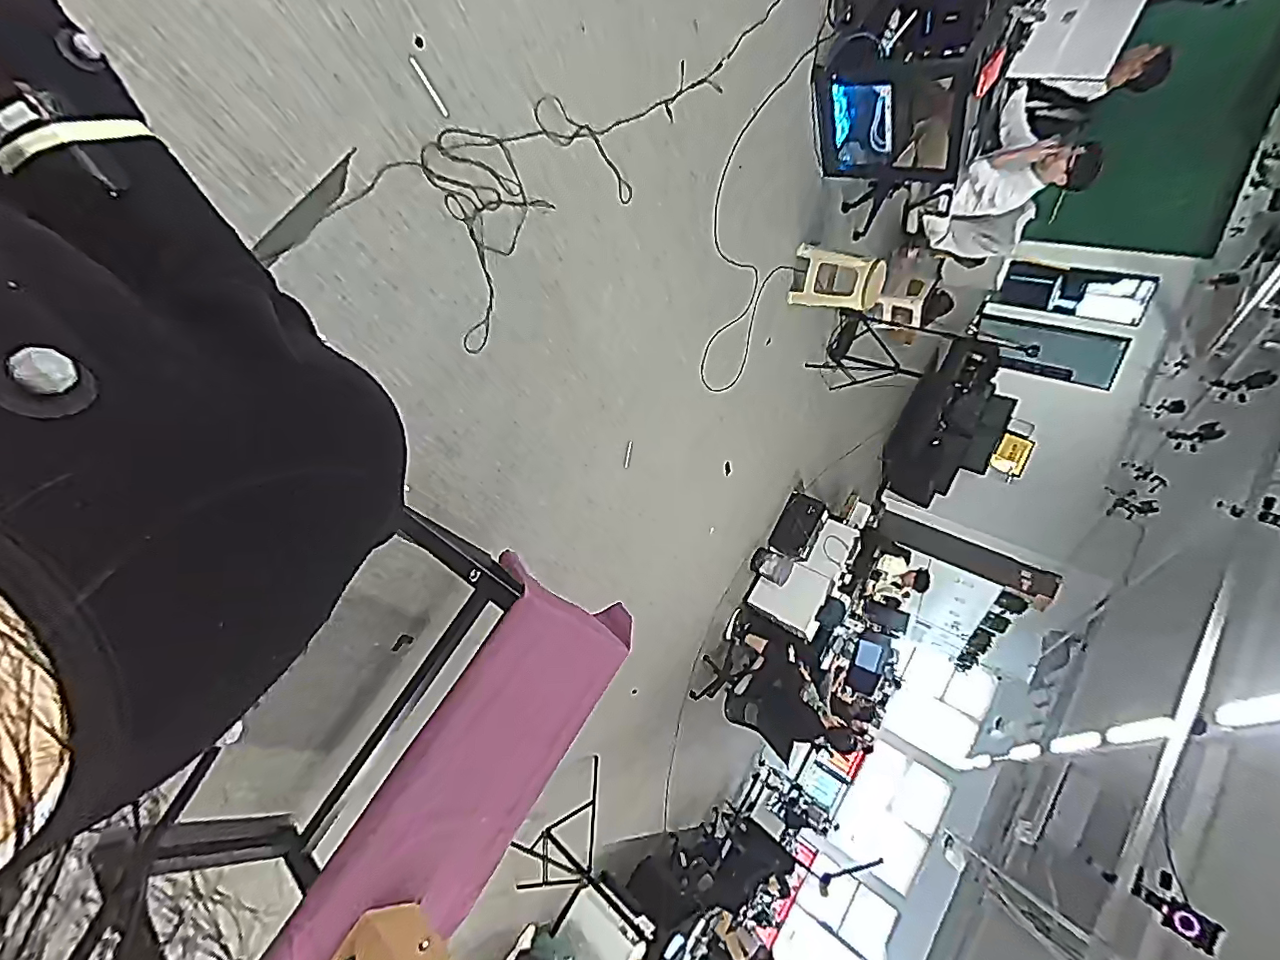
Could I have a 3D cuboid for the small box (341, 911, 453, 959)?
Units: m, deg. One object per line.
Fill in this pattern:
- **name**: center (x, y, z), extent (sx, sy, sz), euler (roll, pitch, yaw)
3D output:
- **small box**: center (-0.559, 1.114, 1.213), extent (0.168, 0.176, 0.179), euler (-55, 146, -16)
